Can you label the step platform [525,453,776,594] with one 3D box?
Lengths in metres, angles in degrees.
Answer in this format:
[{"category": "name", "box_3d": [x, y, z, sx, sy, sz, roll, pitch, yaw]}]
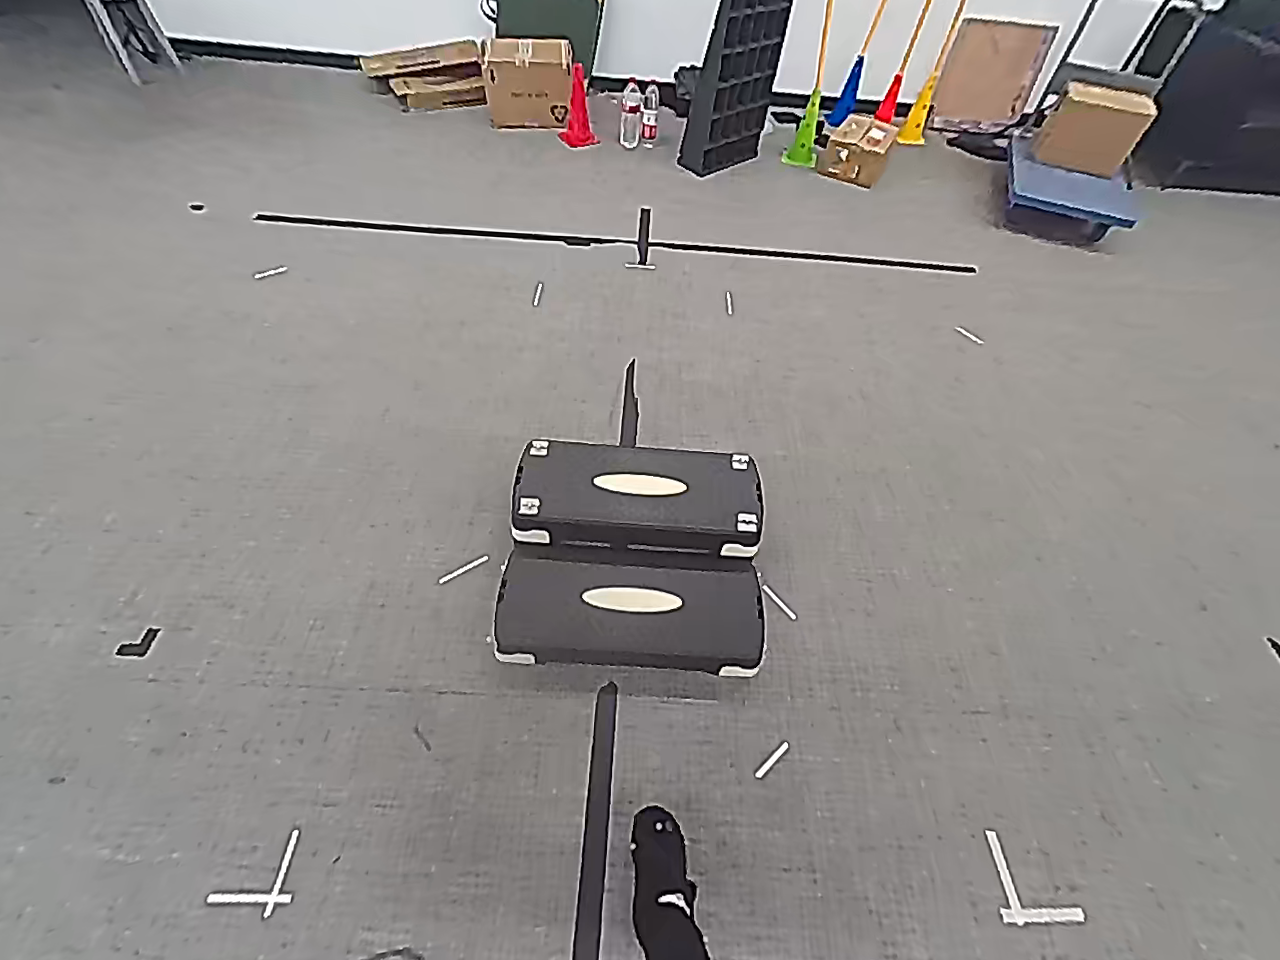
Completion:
[{"category": "step platform", "box_3d": [0.030, 0.118, 1.519, 0.684, 0.204, 0.286, 8, 51, 1]}]
